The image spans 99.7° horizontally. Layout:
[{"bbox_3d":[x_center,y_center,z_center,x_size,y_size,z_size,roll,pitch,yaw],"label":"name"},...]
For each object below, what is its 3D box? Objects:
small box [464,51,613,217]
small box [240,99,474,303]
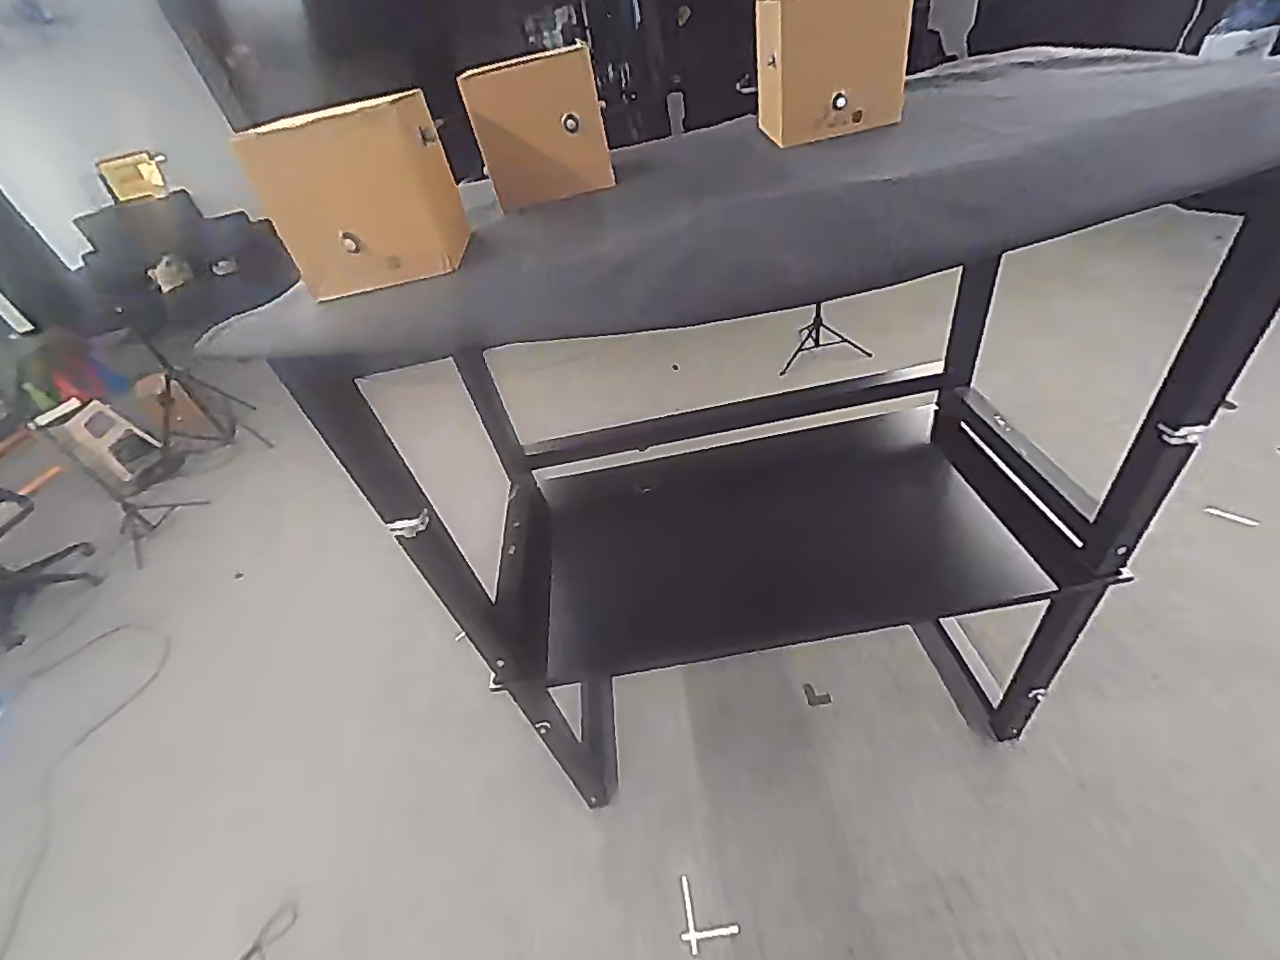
[{"bbox_3d":[-0.141,-0.515,0.806,0.179,0.176,0.168,-12,40,0],"label":"small box"},{"bbox_3d":[-0.308,-0.330,0.639,0.168,0.176,0.179,-12,40,0],"label":"small box"}]
